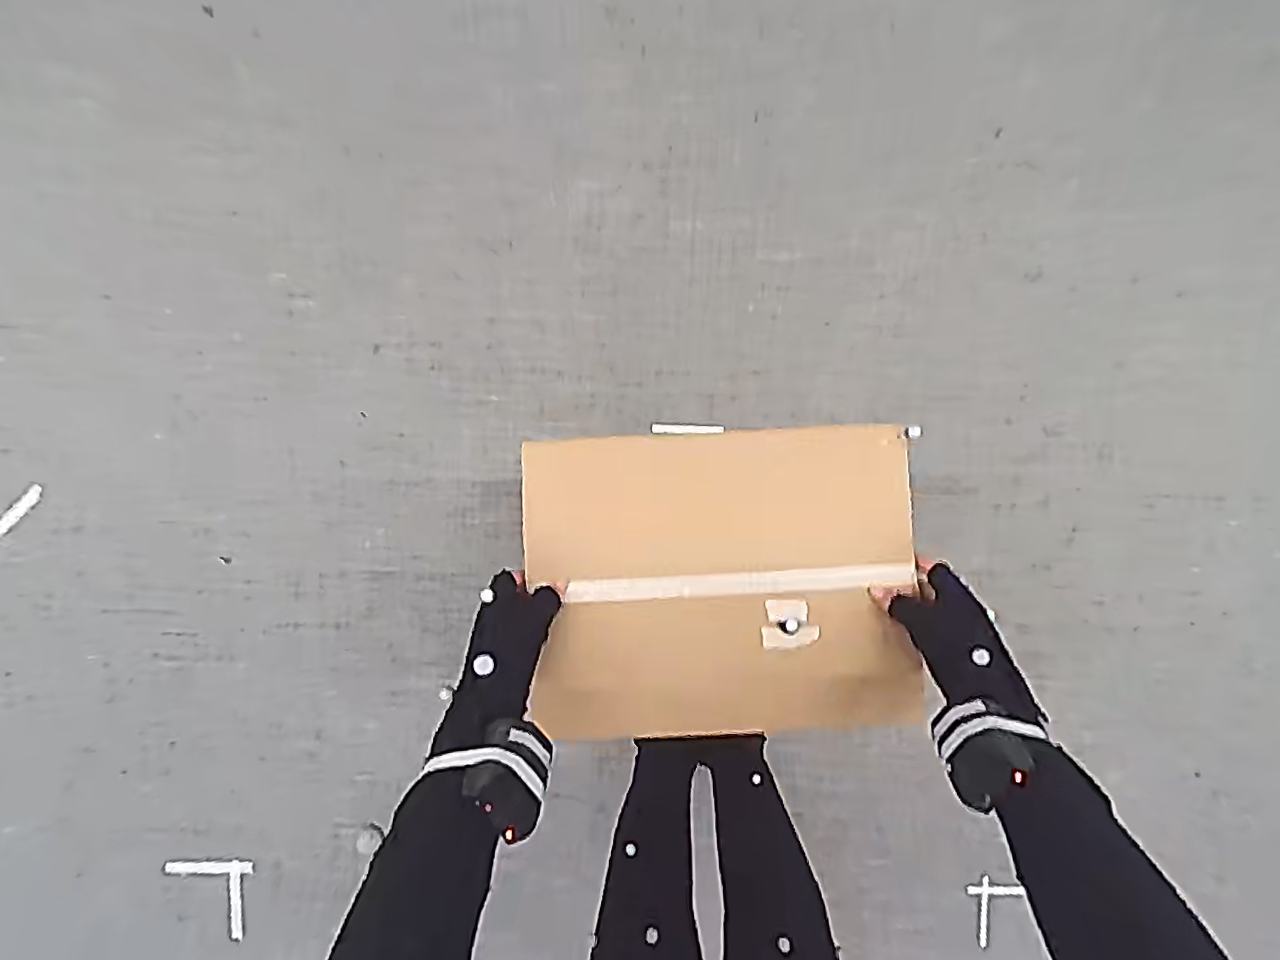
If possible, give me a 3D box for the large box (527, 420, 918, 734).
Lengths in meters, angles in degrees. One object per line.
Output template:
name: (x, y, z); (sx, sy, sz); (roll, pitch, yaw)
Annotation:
large box: (0.084, 0.109, 0.724); (0.408, 0.320, 0.320); (-4, 88, 0)
